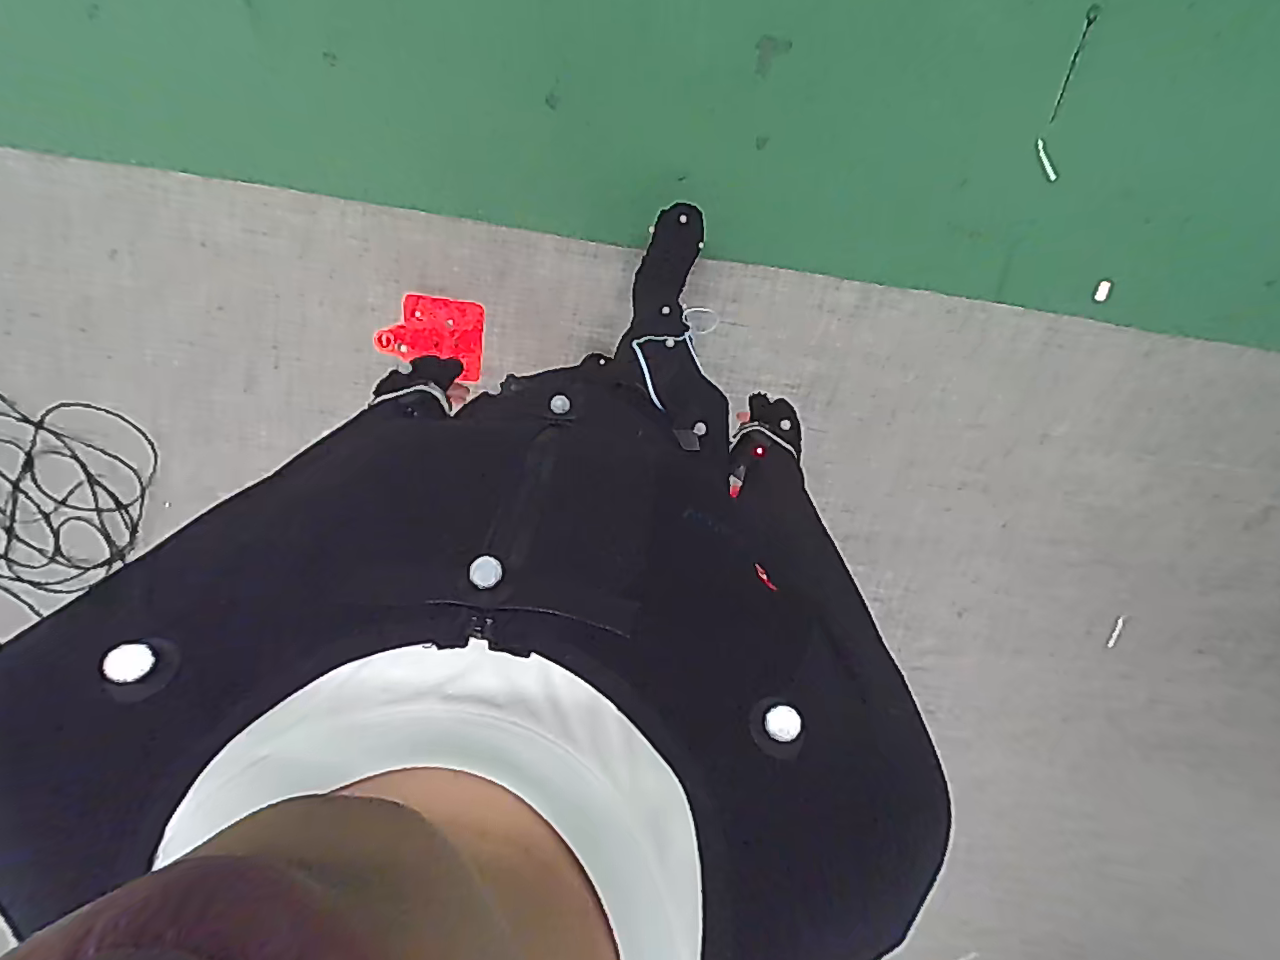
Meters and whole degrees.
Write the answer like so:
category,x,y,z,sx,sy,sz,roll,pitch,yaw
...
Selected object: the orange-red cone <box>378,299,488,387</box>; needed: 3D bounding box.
category,x,y,z,sx,sy,sz,roll,pitch,yaw
orange-red cone,-0.487,-0.300,1.208,0.198,0.360,0.199,8,106,-3
